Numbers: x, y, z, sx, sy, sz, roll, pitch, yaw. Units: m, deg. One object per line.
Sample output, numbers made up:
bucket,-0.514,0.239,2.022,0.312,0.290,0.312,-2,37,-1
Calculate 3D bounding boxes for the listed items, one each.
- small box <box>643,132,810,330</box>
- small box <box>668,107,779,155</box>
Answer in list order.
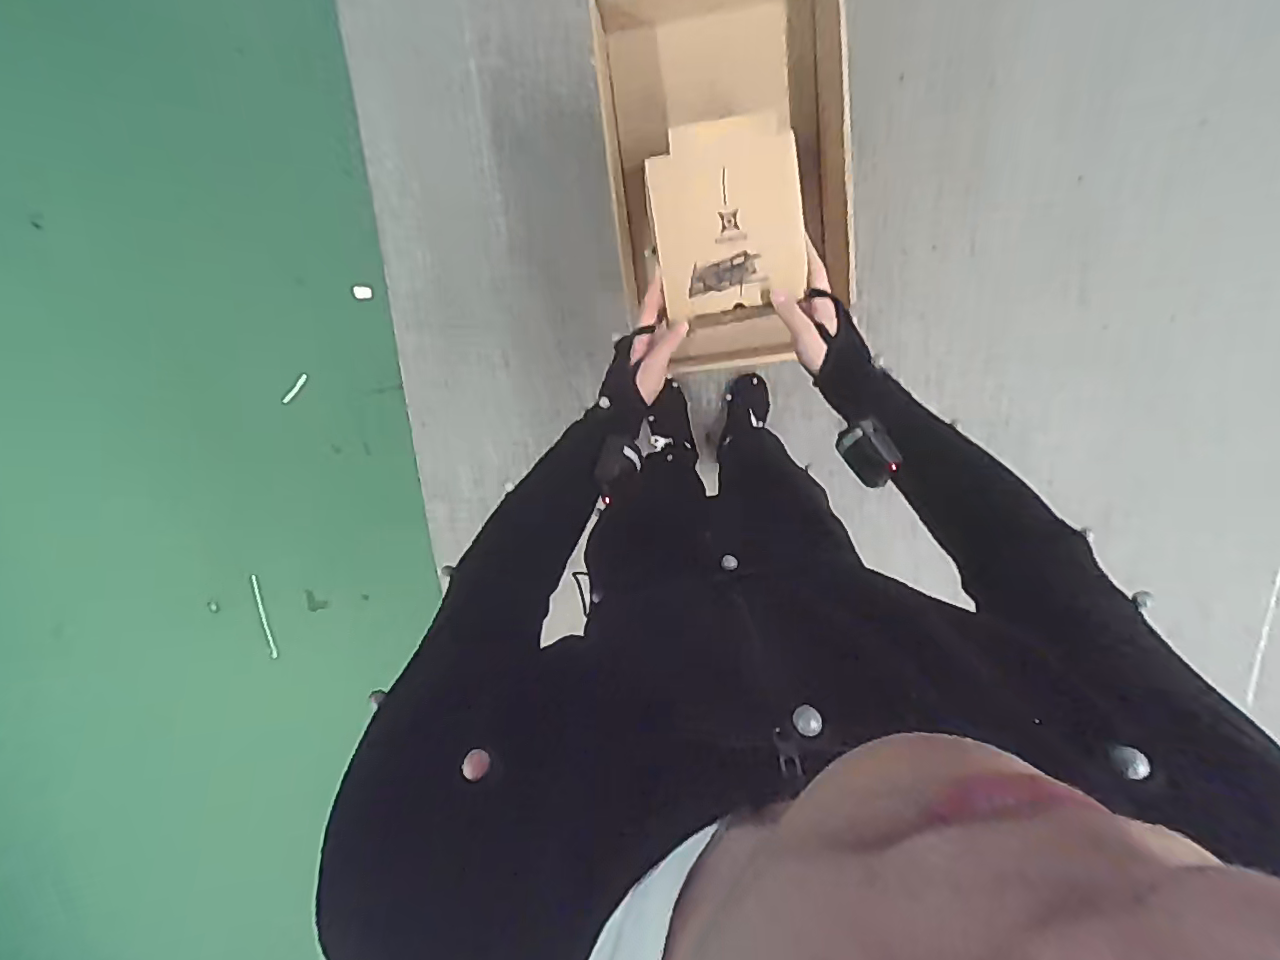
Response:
small box,0.100,-0.288,0.670,0.168,0.176,0.179,-9,99,3
small box,0.146,-0.517,0.950,0.179,0.176,0.168,-6,104,6
